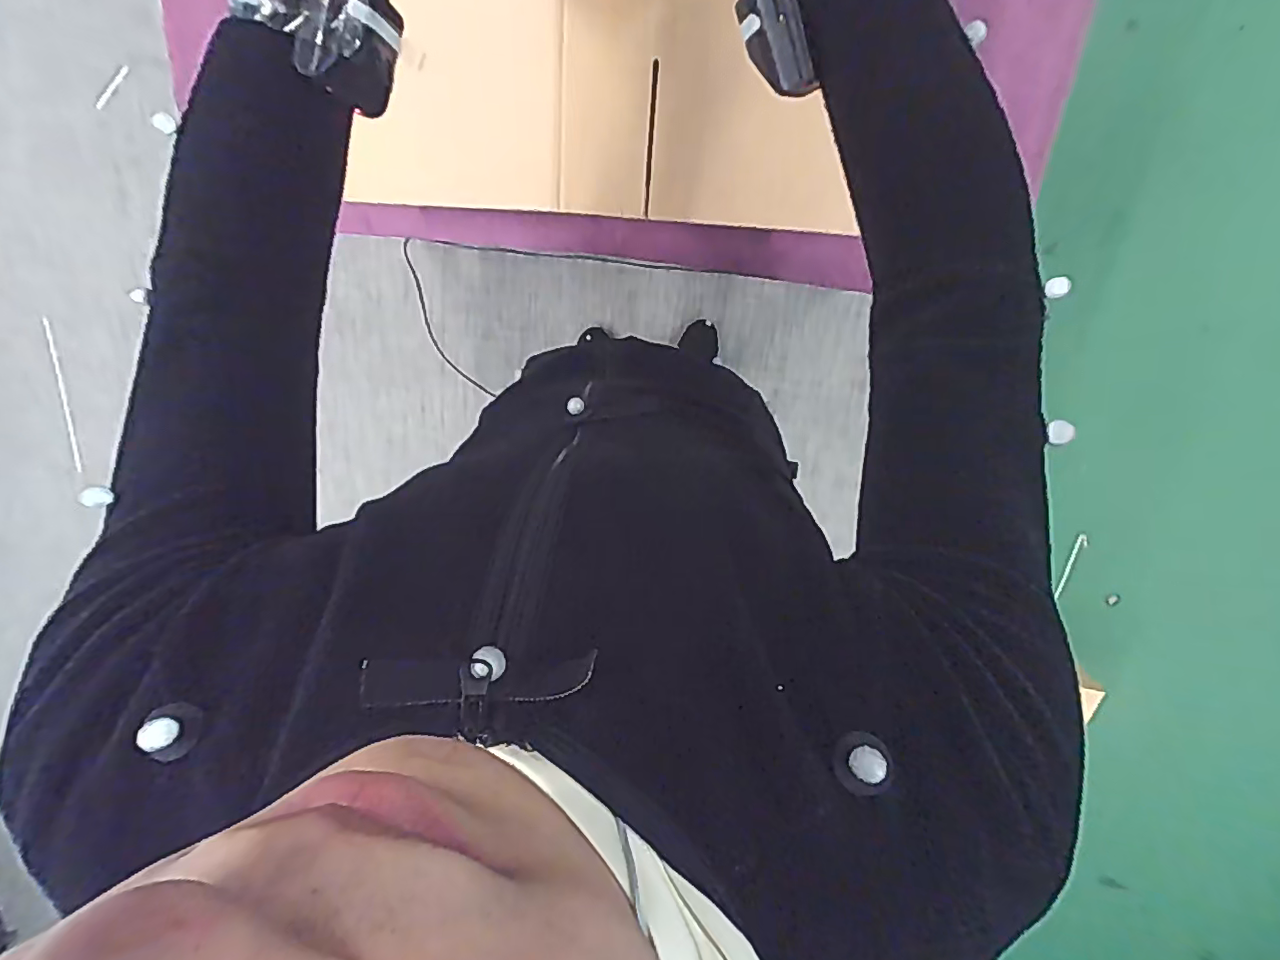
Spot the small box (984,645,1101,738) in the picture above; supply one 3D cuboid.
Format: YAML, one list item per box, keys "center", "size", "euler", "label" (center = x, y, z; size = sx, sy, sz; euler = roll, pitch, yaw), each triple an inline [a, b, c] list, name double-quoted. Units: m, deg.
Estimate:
- center: [1.140, 0.597, 1.546]
  size: [0.179, 0.176, 0.168]
  euler: [13, 108, -1]
  label: "small box"
